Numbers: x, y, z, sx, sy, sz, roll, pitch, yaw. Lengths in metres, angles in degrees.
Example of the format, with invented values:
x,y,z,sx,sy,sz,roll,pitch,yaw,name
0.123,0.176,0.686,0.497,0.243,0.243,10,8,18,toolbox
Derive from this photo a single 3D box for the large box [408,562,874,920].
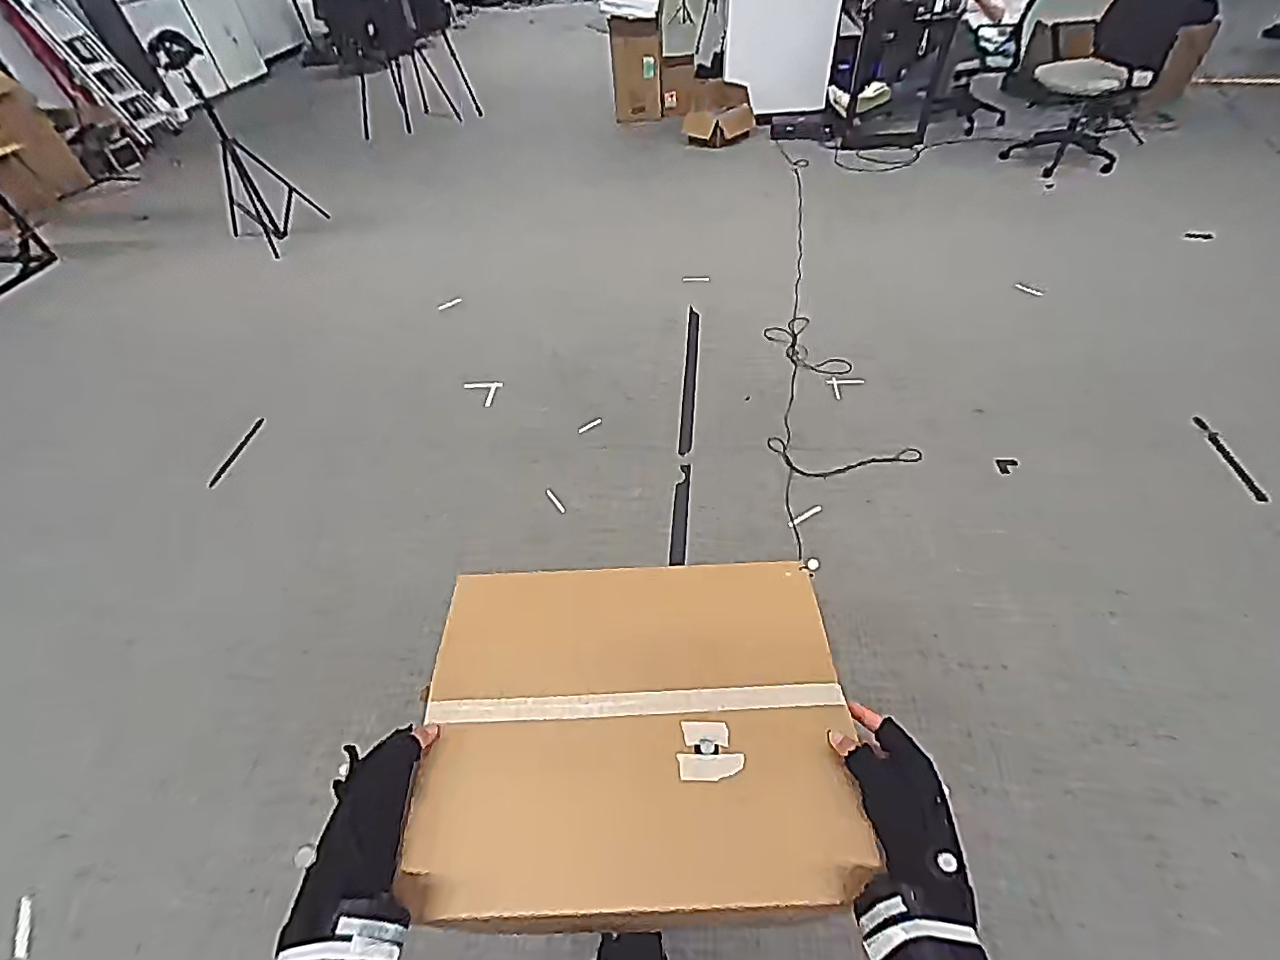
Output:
x,y,z,sx,sy,sz,roll,pitch,yaw,name
-0.001,0.321,0.661,0.408,0.320,0.320,-2,49,0,large box
